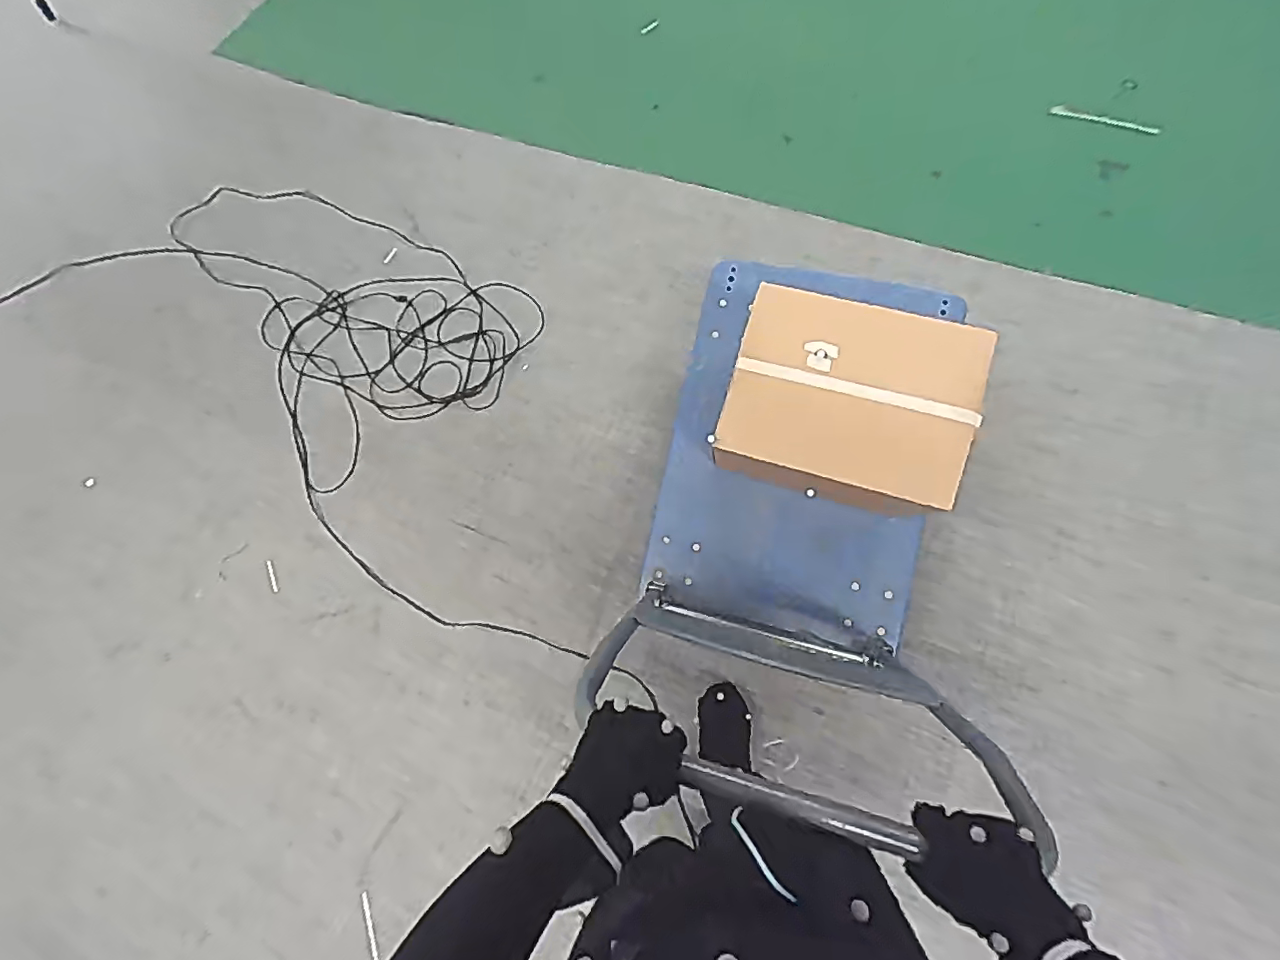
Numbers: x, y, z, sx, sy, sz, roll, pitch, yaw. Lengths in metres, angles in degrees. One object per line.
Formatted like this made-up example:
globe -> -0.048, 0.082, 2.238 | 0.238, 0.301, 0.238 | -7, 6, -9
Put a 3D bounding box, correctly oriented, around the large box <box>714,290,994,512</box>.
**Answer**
large box -> 0.386, -0.133, 1.066 | 0.408, 0.320, 0.320 | 16, 87, 12
